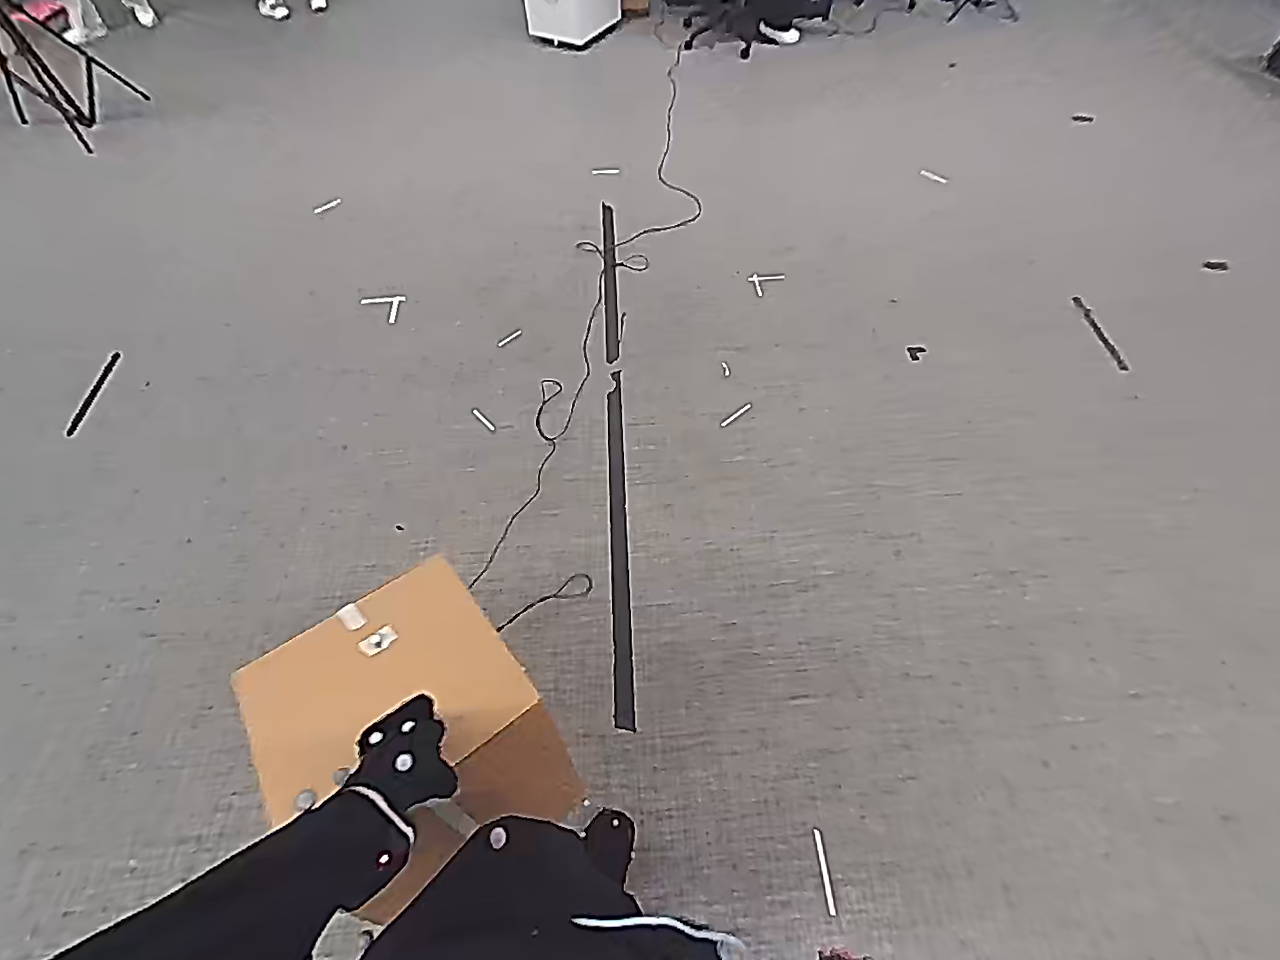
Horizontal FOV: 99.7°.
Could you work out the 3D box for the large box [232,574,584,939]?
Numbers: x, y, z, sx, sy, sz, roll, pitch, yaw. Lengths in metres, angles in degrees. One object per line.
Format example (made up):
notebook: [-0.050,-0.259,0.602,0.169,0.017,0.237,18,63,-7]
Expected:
large box: [-0.327,0.426,0.843,0.320,0.408,0.320,-33,52,-24]
